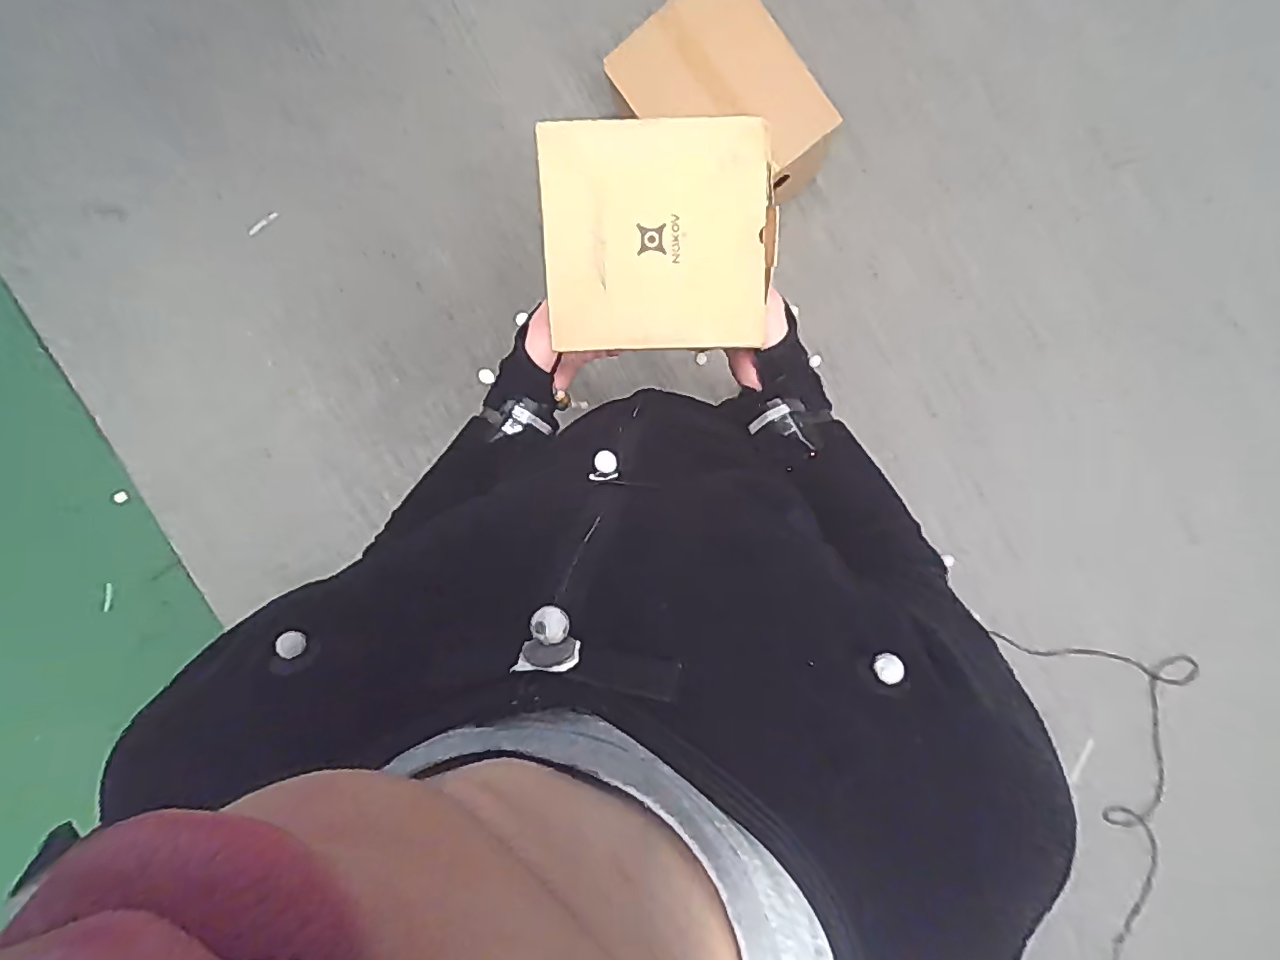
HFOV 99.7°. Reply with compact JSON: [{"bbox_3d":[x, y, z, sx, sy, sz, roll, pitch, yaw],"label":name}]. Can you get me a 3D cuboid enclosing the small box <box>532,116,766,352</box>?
[{"bbox_3d":[0.008,-0.205,0.493,0.179,0.176,0.168,-2,104,1],"label":"small box"}]
